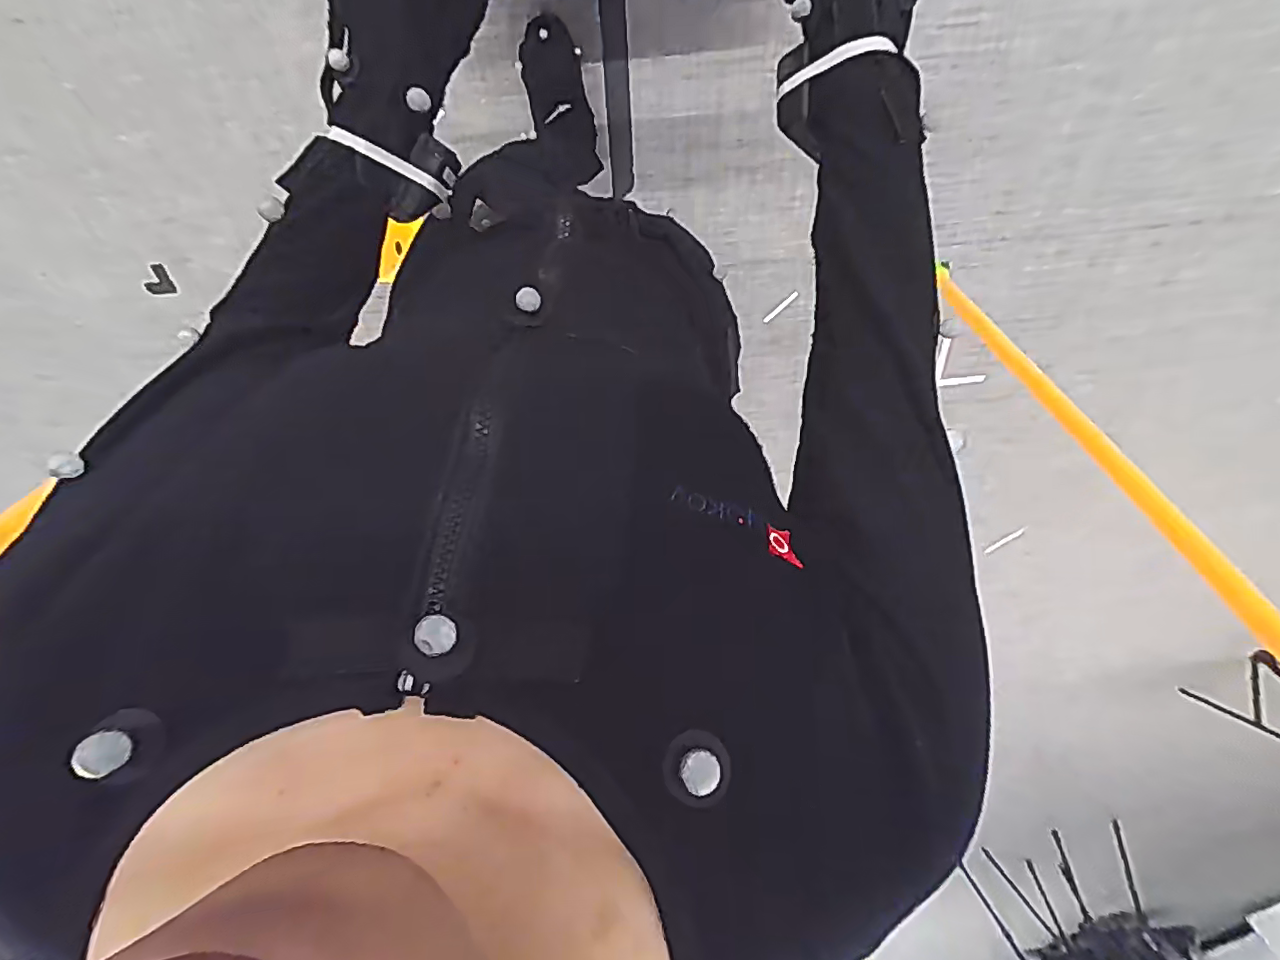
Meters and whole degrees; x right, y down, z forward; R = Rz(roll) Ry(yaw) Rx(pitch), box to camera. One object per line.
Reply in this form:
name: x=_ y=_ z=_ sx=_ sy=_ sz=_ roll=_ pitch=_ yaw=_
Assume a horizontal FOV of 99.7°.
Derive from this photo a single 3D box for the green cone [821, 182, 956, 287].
green cone: x=0.553 y=-0.487 z=1.147 sx=0.202 sy=0.368 sz=0.200 roll=-2 pitch=129 yaw=-3
